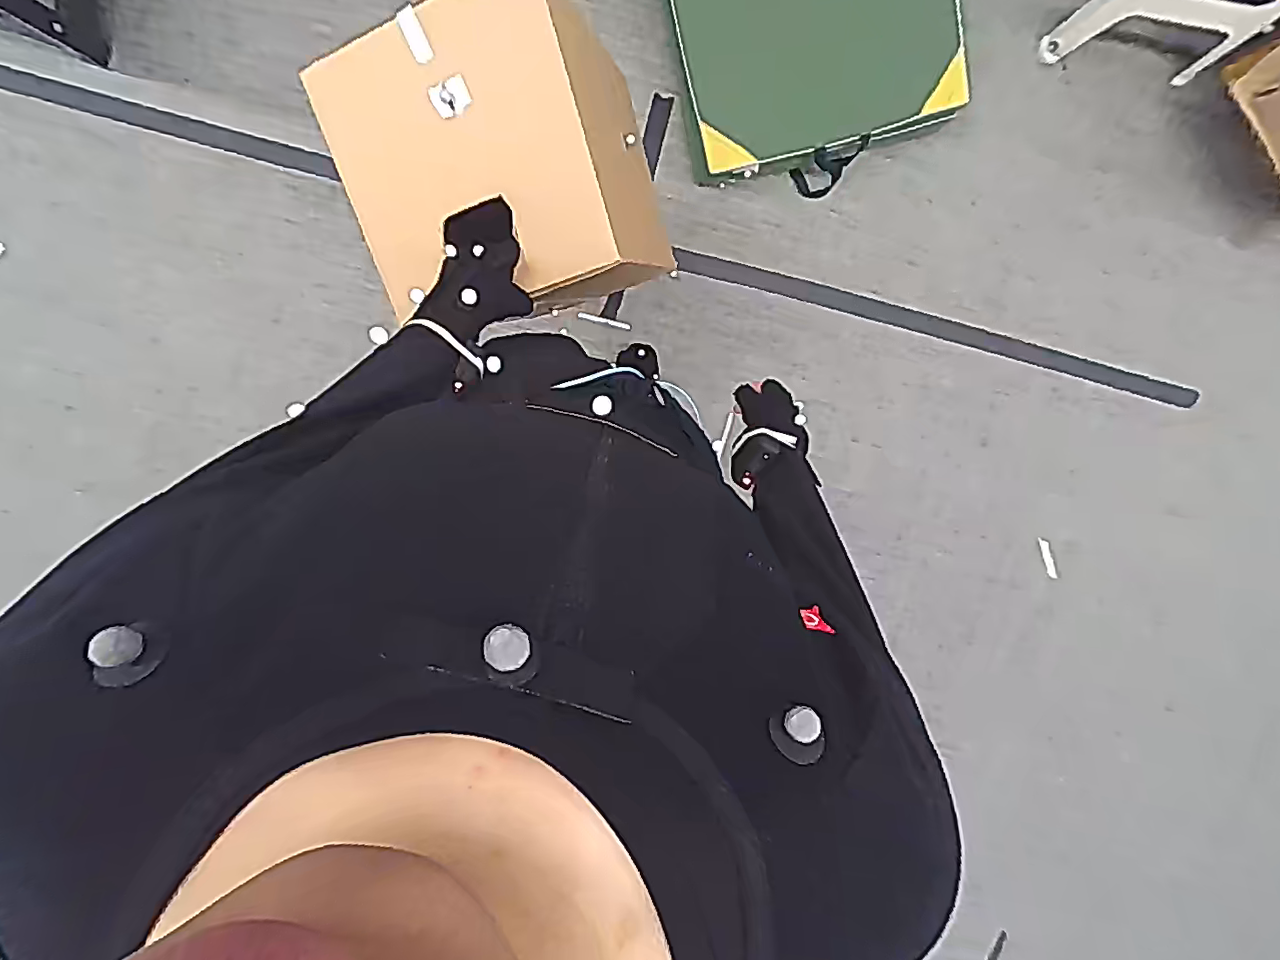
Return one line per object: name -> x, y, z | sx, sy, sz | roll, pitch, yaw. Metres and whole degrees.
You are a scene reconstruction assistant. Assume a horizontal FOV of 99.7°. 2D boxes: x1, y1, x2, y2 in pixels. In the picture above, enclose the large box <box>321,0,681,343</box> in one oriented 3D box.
large box -> -0.156, -0.422, 0.811 | 0.320, 0.408, 0.320 | -11, 108, 18
